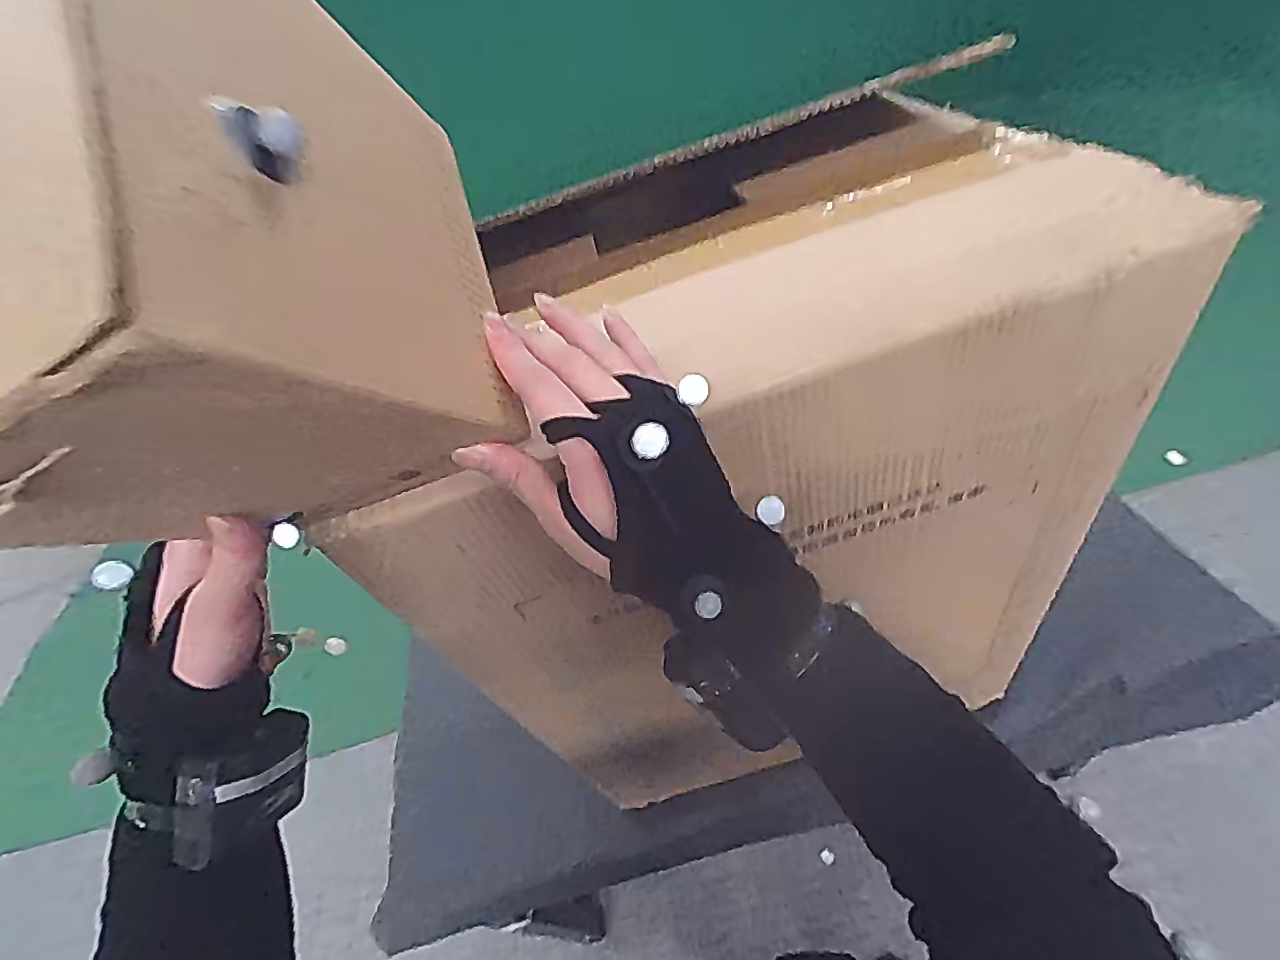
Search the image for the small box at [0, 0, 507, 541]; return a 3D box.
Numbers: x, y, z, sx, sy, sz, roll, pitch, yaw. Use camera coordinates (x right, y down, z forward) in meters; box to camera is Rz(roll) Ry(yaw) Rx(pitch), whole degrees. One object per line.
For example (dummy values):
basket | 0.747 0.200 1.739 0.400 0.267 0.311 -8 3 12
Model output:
small box | -0.180 -0.078 0.230 0.168 0.176 0.179 -19 80 15
